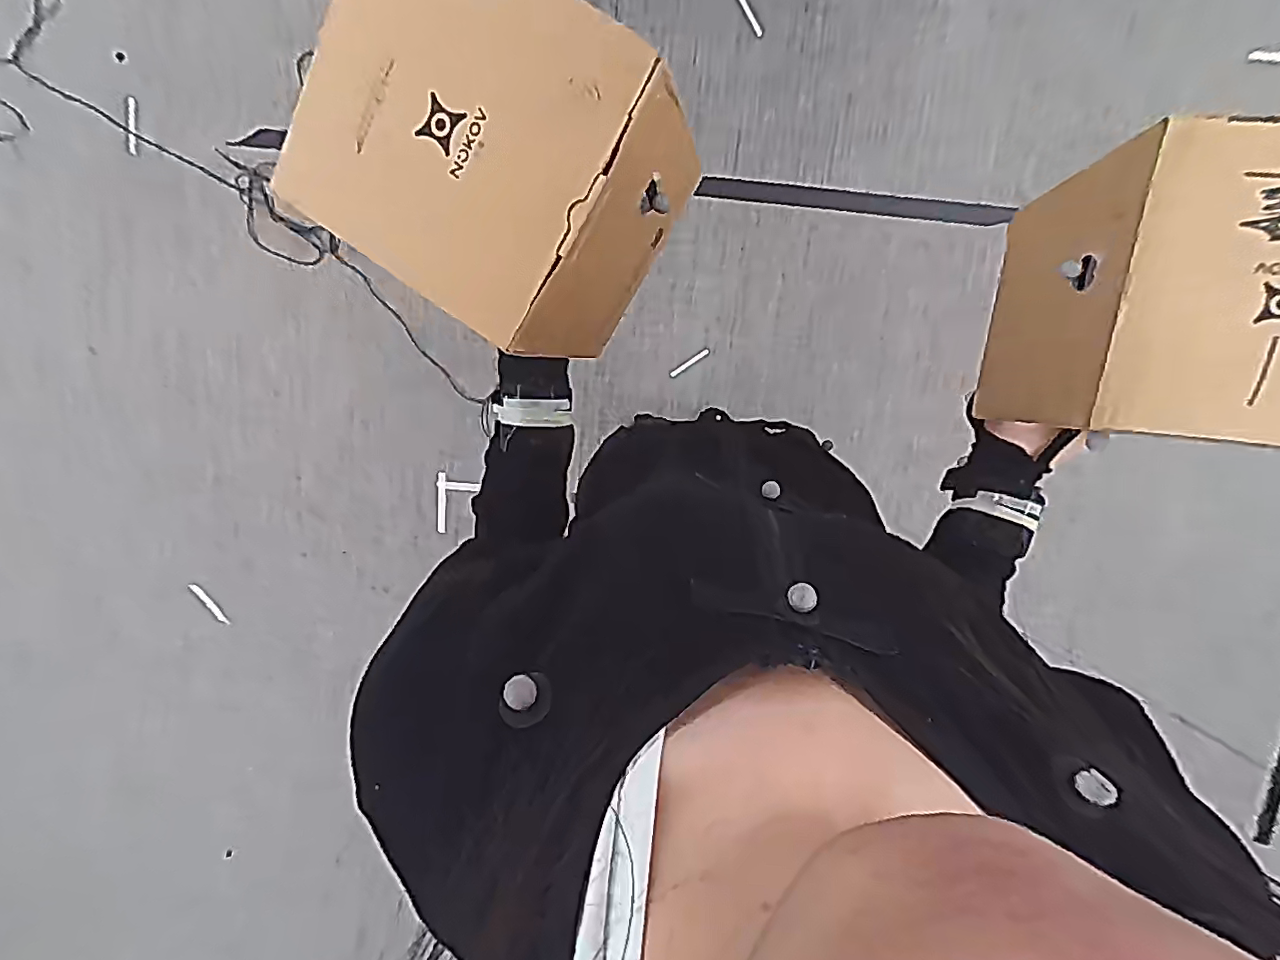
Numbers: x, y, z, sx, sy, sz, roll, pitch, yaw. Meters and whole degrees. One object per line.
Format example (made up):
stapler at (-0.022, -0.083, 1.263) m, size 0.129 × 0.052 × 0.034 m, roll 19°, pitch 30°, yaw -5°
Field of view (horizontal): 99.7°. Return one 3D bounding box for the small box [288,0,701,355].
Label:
small box at (-0.076, -0.200, 0.363) m, size 0.179 × 0.176 × 0.168 m, roll 35°, pitch 106°, yaw 5°

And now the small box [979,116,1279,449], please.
small box at (0.377, -0.121, 0.386) m, size 0.168 × 0.176 × 0.179 m, roll 8°, pitch 100°, yaw 8°
